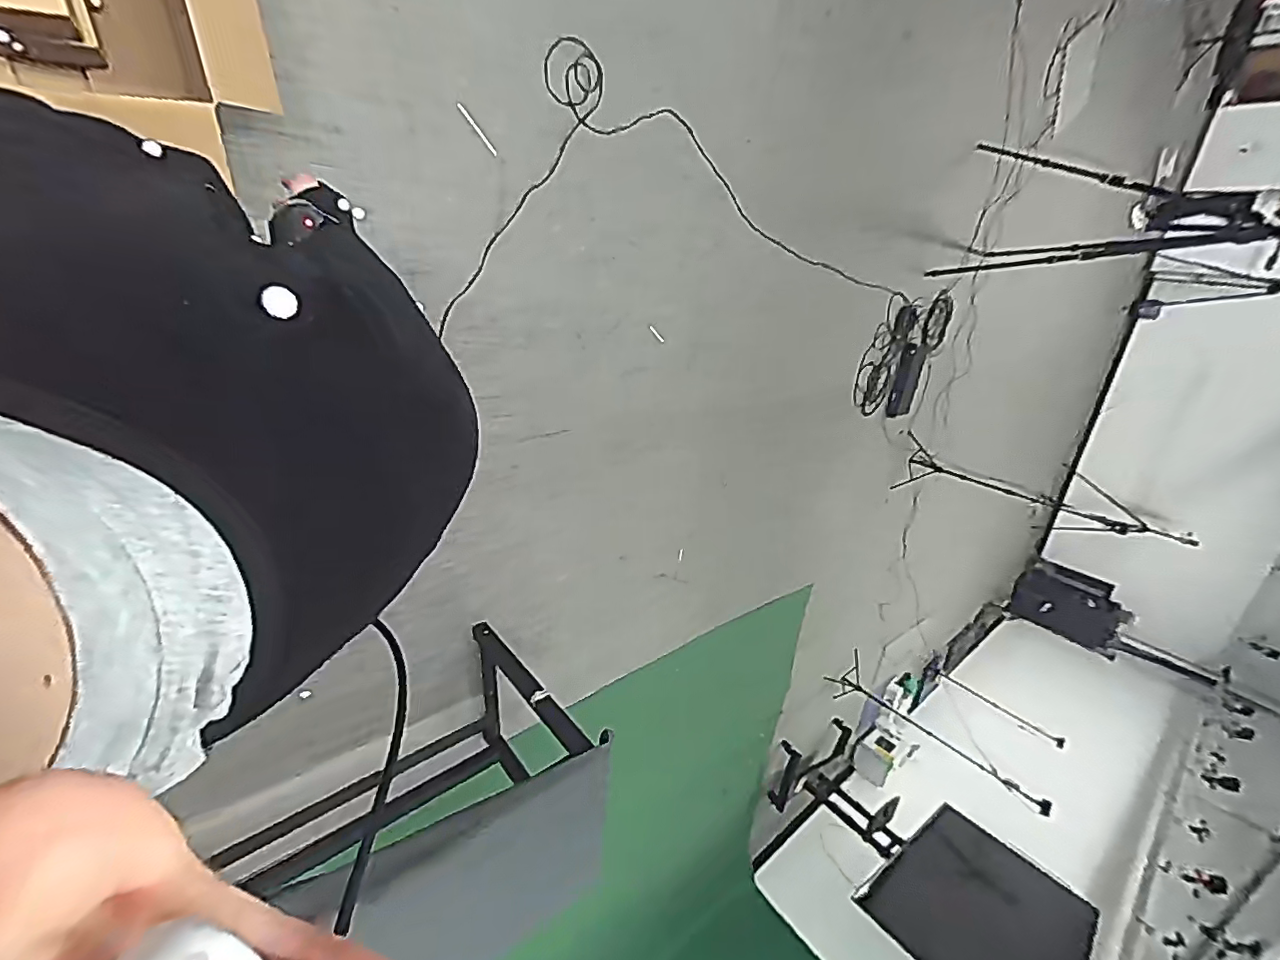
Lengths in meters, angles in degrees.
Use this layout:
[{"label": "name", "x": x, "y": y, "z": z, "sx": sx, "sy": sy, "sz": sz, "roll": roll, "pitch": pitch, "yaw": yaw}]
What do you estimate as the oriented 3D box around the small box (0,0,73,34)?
[{"label": "small box", "x": -0.889, "y": -0.716, "z": 0.699, "sx": 0.168, "sy": 0.176, "sz": 0.179, "roll": -18, "pitch": 124, "yaw": -33}]
